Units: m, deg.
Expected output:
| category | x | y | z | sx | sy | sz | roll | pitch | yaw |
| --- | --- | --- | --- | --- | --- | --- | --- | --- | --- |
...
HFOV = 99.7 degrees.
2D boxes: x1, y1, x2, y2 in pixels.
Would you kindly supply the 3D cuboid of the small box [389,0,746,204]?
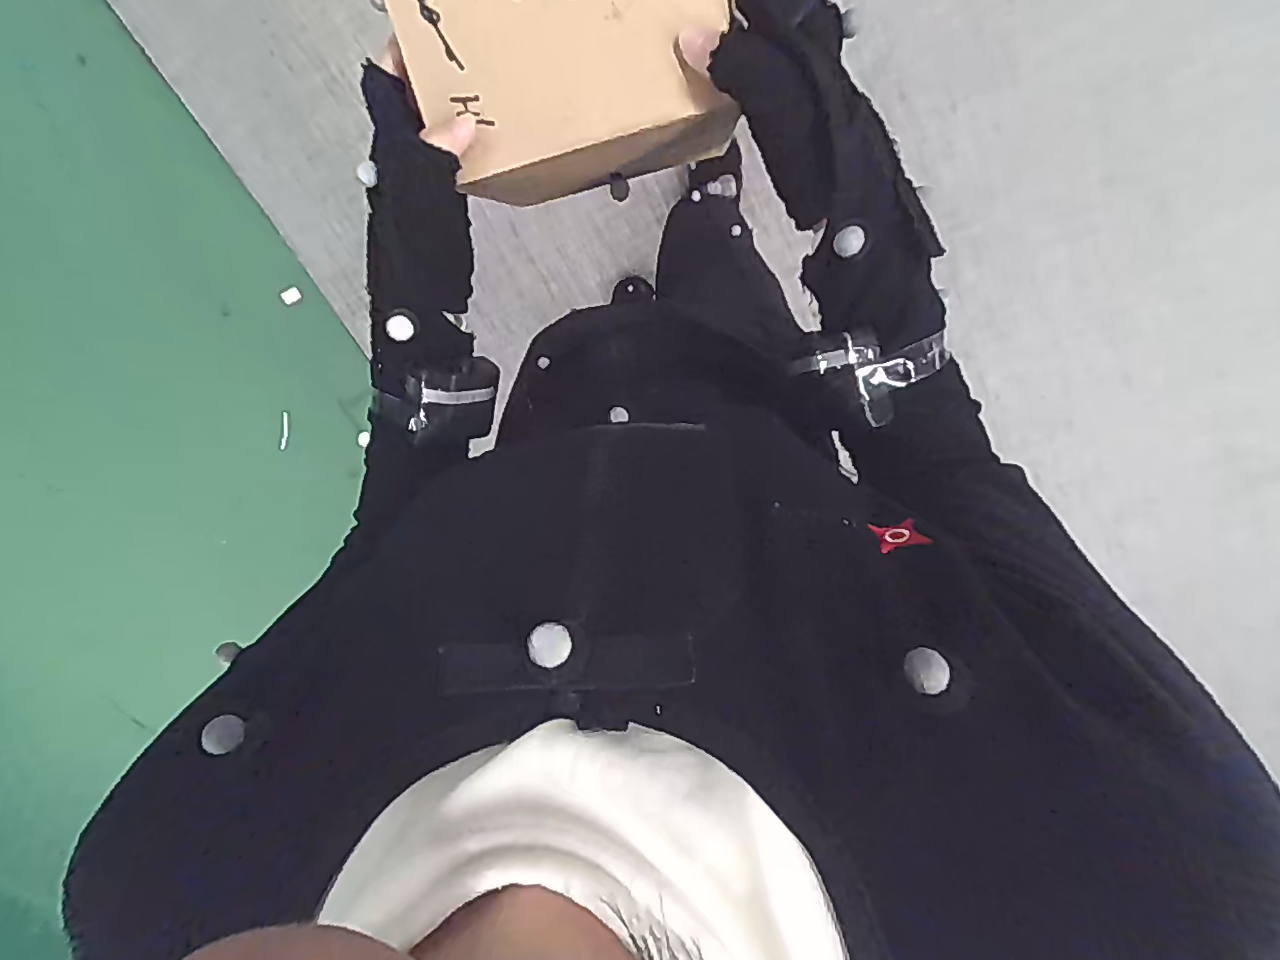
| category | x | y | z | sx | sy | sz | roll | pitch | yaw |
| --- | --- | --- | --- | --- | --- | --- | --- | --- | --- |
| small box | -0.040 | -0.293 | 0.350 | 0.179 | 0.176 | 0.168 | -13 | 111 | 11 |
